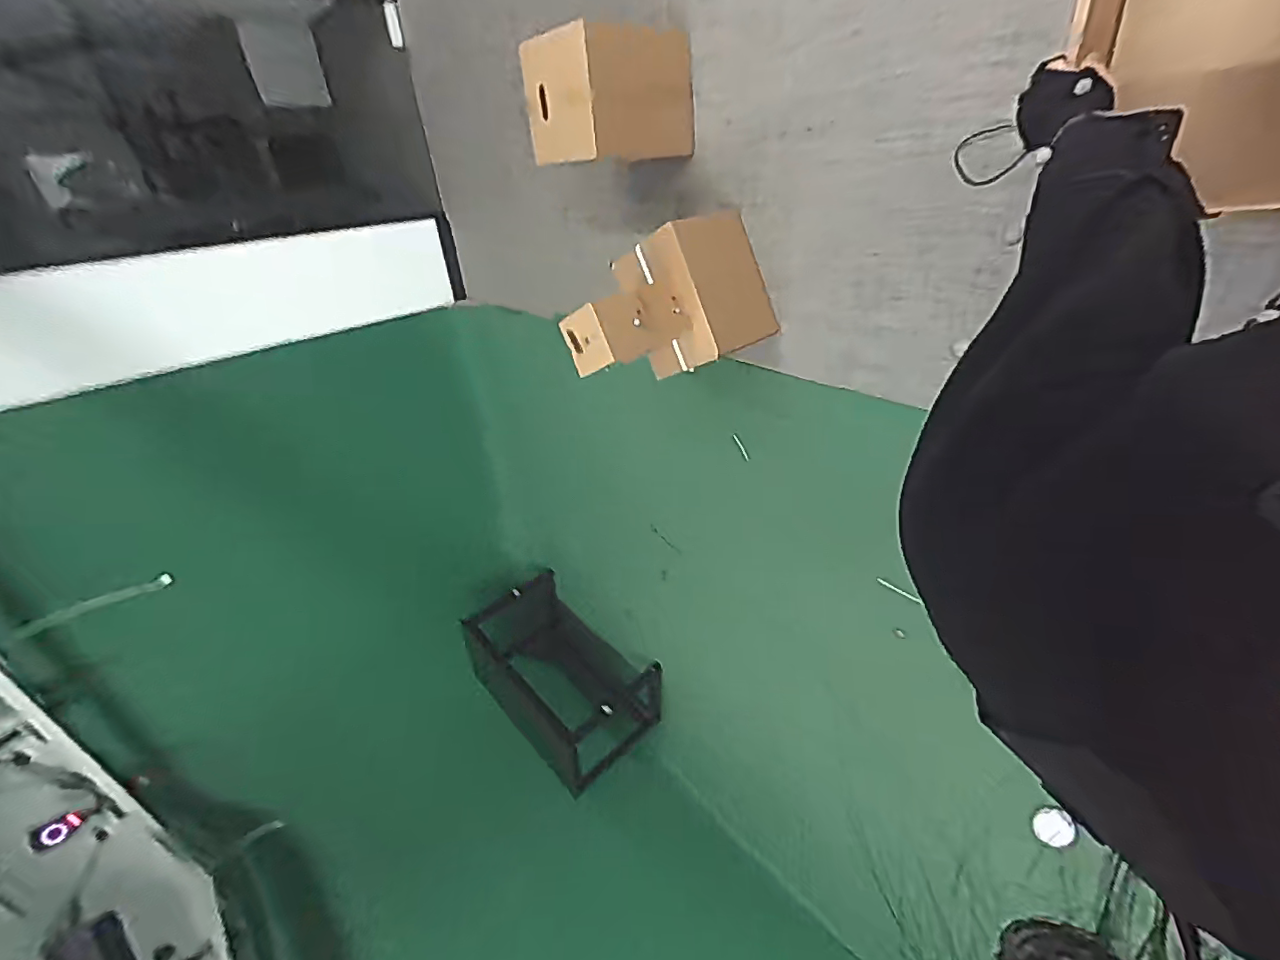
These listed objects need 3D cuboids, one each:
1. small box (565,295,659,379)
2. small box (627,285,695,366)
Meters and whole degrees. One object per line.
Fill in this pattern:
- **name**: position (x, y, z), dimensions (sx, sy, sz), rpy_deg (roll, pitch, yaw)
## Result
- **small box**: position (-0.078, -0.403, 1.527), dimensions (0.179, 0.176, 0.168), rpy_deg (-10, 106, 53)
- **small box**: position (0.034, -0.465, 1.629), dimensions (0.179, 0.176, 0.168), rpy_deg (-17, 99, 55)
